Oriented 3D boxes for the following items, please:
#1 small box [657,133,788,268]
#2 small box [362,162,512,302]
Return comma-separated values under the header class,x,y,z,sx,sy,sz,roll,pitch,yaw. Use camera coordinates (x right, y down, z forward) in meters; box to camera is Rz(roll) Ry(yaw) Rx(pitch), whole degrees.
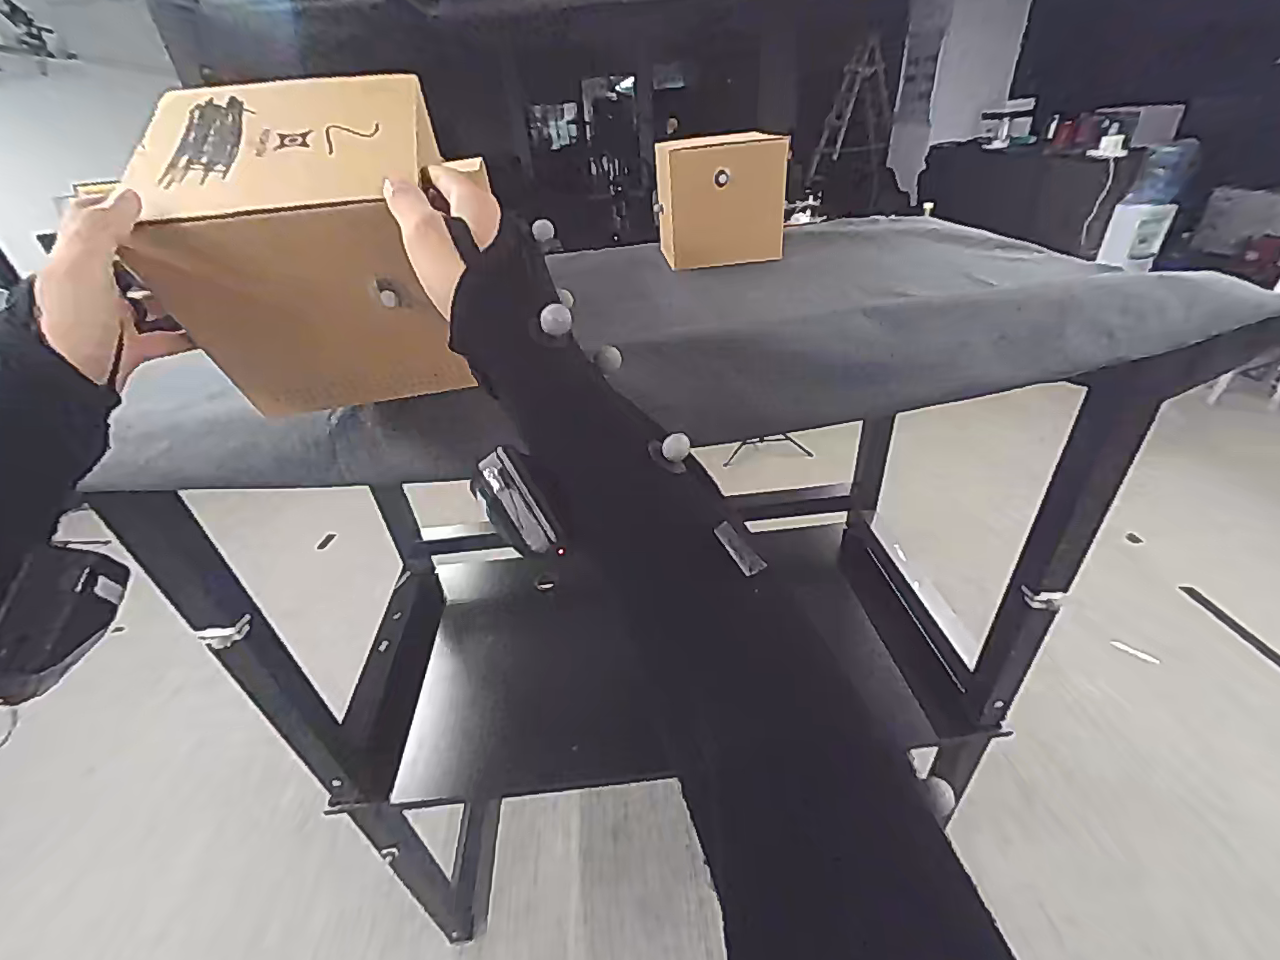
class,x,y,z,sx,sy,sz,roll,pitch,yaw
small box,0.127,-0.450,0.871,0.179,0.176,0.168,-6,35,-1
small box,-0.302,-0.389,0.844,0.168,0.176,0.179,-11,35,-6
